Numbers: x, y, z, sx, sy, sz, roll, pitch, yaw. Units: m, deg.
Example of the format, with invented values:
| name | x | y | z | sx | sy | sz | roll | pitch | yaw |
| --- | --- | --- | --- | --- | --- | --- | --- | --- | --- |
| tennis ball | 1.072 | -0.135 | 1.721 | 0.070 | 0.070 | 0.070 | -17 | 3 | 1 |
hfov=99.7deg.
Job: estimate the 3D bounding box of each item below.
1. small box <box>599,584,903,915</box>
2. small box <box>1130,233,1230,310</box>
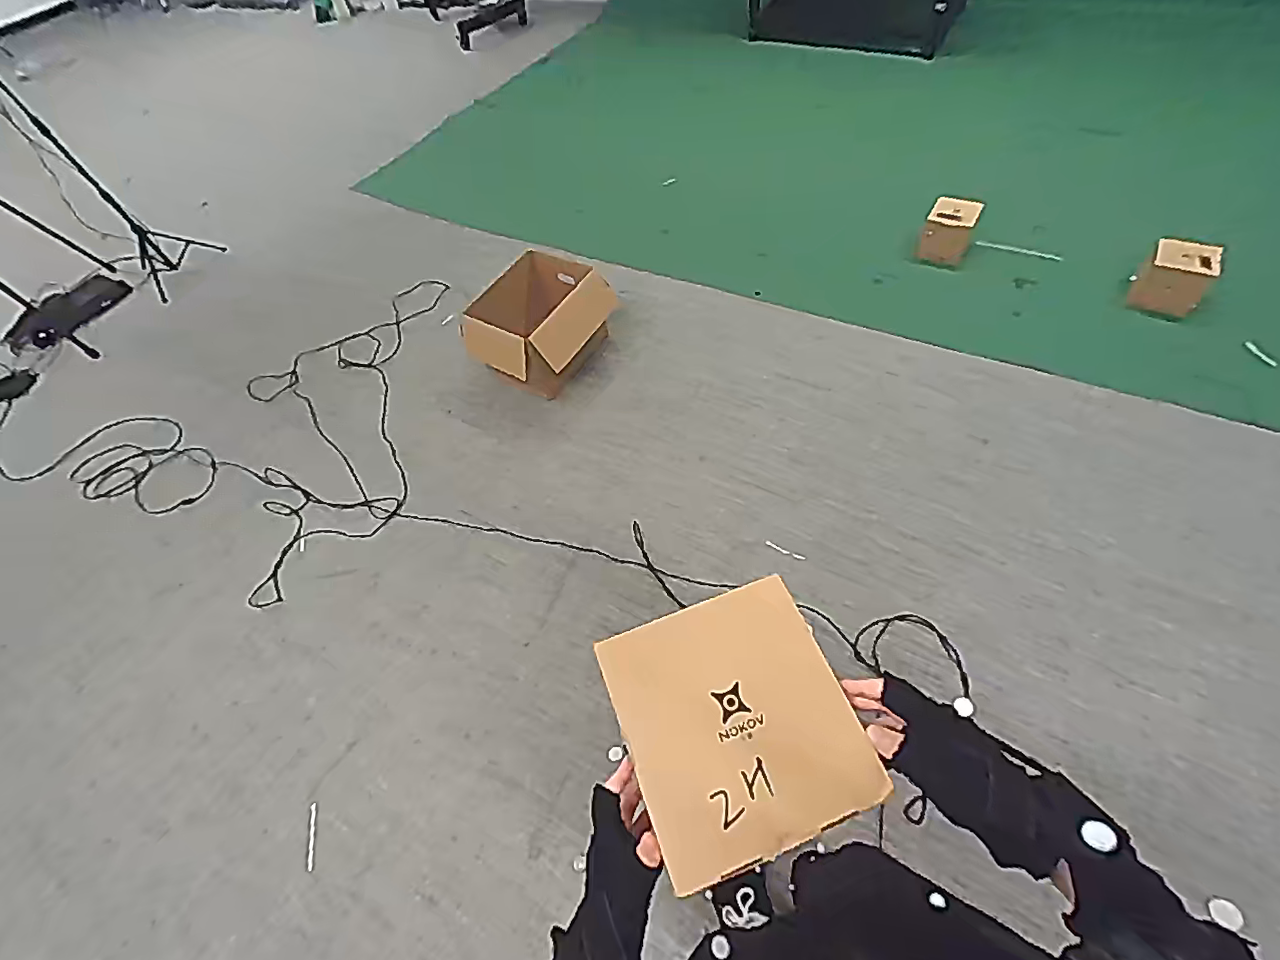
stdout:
| name | x | y | z | sx | sy | sz | roll | pitch | yaw |
| --- | --- | --- | --- | --- | --- | --- | --- | --- | --- |
| small box | 0.073 | 0.218 | 0.455 | 0.168 | 0.176 | 0.179 | -19 | 61 | -8 |
| small box | 1.841 | -0.708 | 1.847 | 0.179 | 0.176 | 0.168 | 24 | 63 | 23 |
